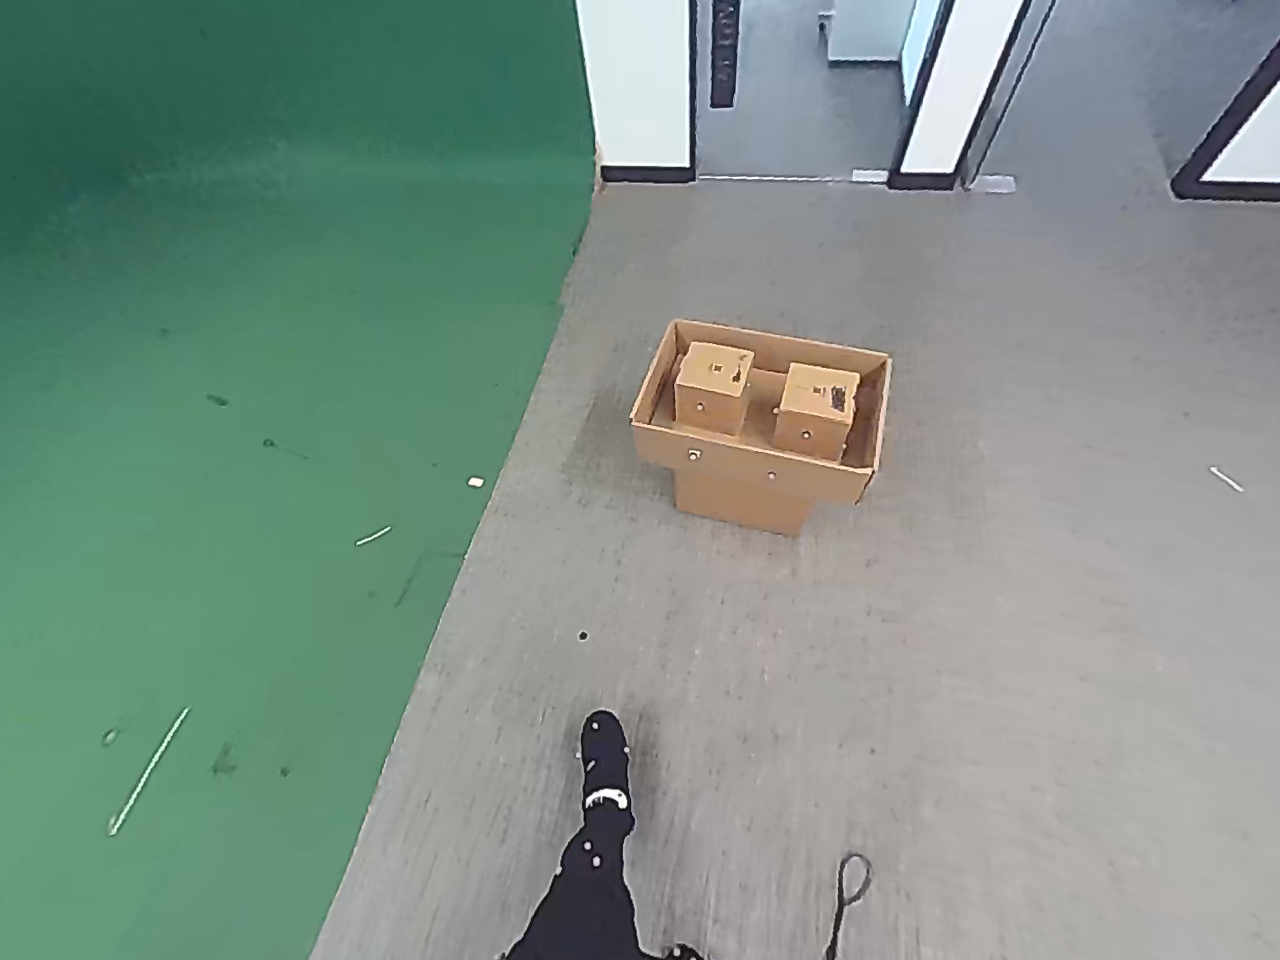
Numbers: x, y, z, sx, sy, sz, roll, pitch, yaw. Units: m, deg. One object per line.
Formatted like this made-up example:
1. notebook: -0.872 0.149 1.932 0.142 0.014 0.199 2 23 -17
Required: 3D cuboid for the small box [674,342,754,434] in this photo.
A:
1. small box: 0.203 -0.248 1.480 0.179 0.176 0.168 14 60 15
